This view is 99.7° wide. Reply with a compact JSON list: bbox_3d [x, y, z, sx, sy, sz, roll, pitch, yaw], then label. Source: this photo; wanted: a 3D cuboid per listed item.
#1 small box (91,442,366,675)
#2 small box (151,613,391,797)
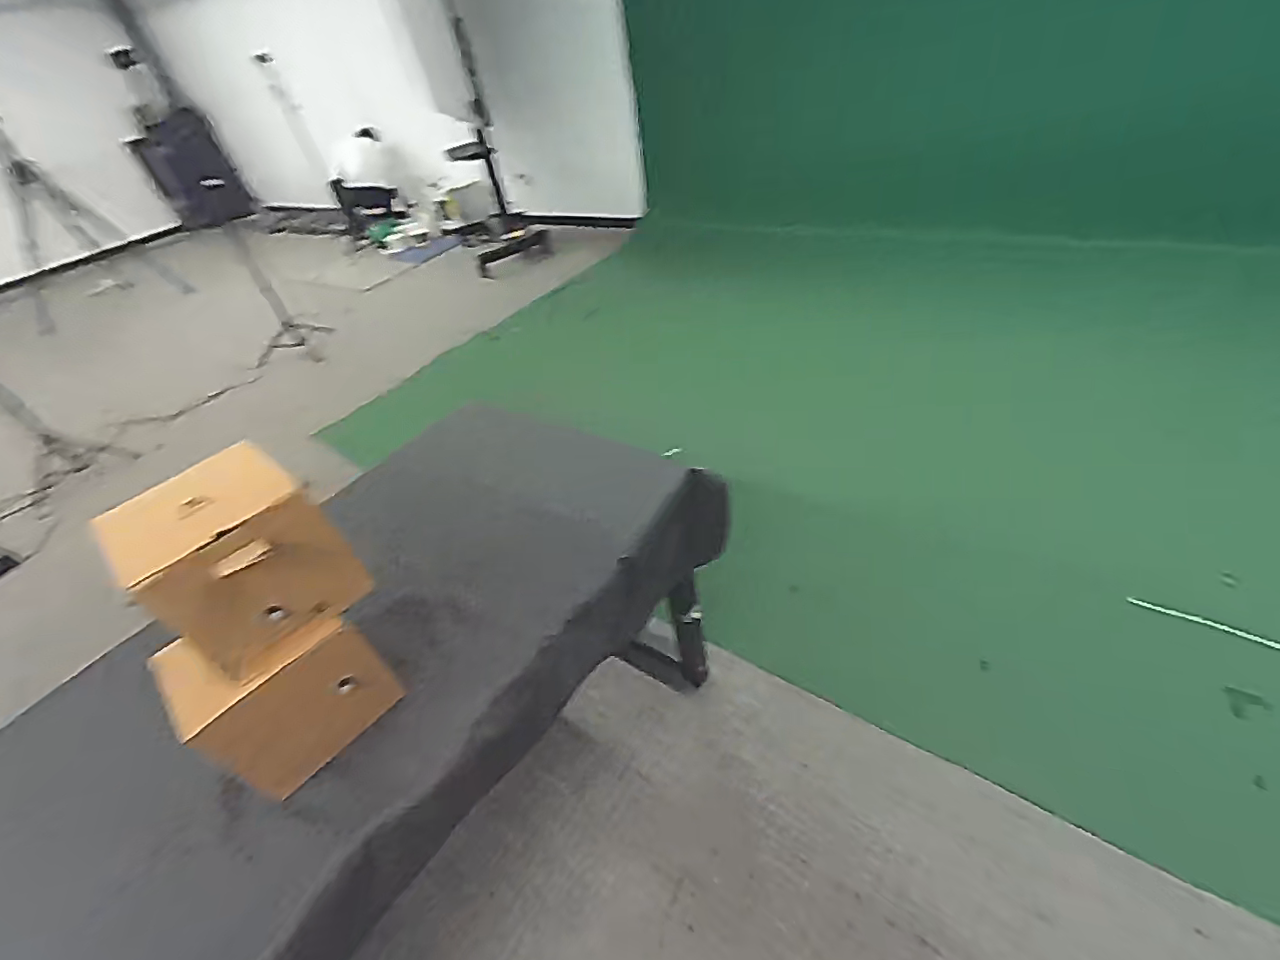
[{"bbox_3d":[-0.458,0.087,0.620,0.179,0.176,0.168,23,51,35],"label":"small box"},{"bbox_3d":[-0.446,0.249,0.681,0.168,0.176,0.179,24,53,36],"label":"small box"}]
